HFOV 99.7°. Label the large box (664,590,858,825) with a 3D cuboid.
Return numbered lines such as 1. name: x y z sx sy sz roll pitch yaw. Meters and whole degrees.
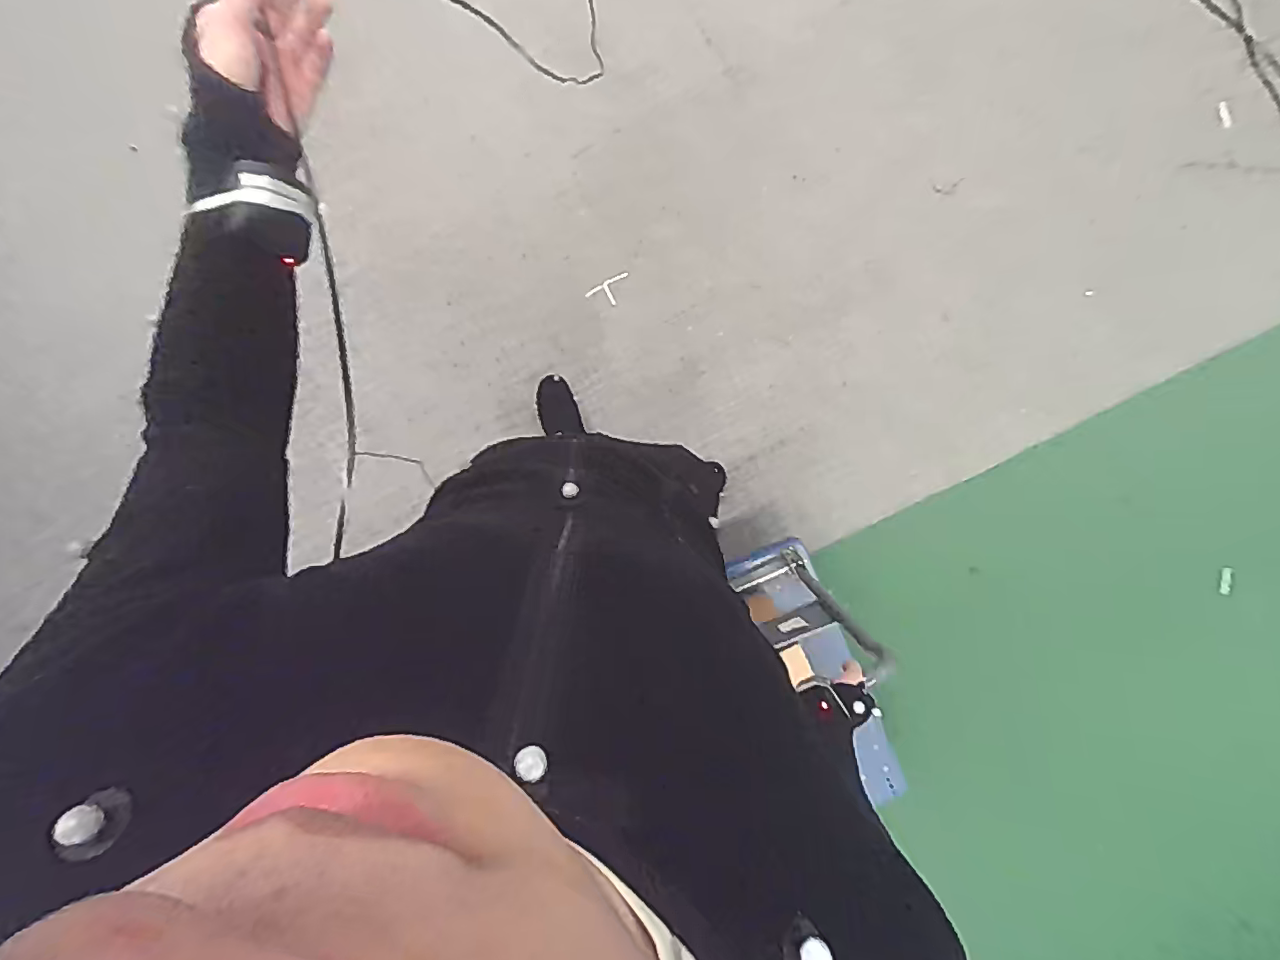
1. large box: 0.292 0.566 1.407 0.320 0.320 0.408 -25 100 4
